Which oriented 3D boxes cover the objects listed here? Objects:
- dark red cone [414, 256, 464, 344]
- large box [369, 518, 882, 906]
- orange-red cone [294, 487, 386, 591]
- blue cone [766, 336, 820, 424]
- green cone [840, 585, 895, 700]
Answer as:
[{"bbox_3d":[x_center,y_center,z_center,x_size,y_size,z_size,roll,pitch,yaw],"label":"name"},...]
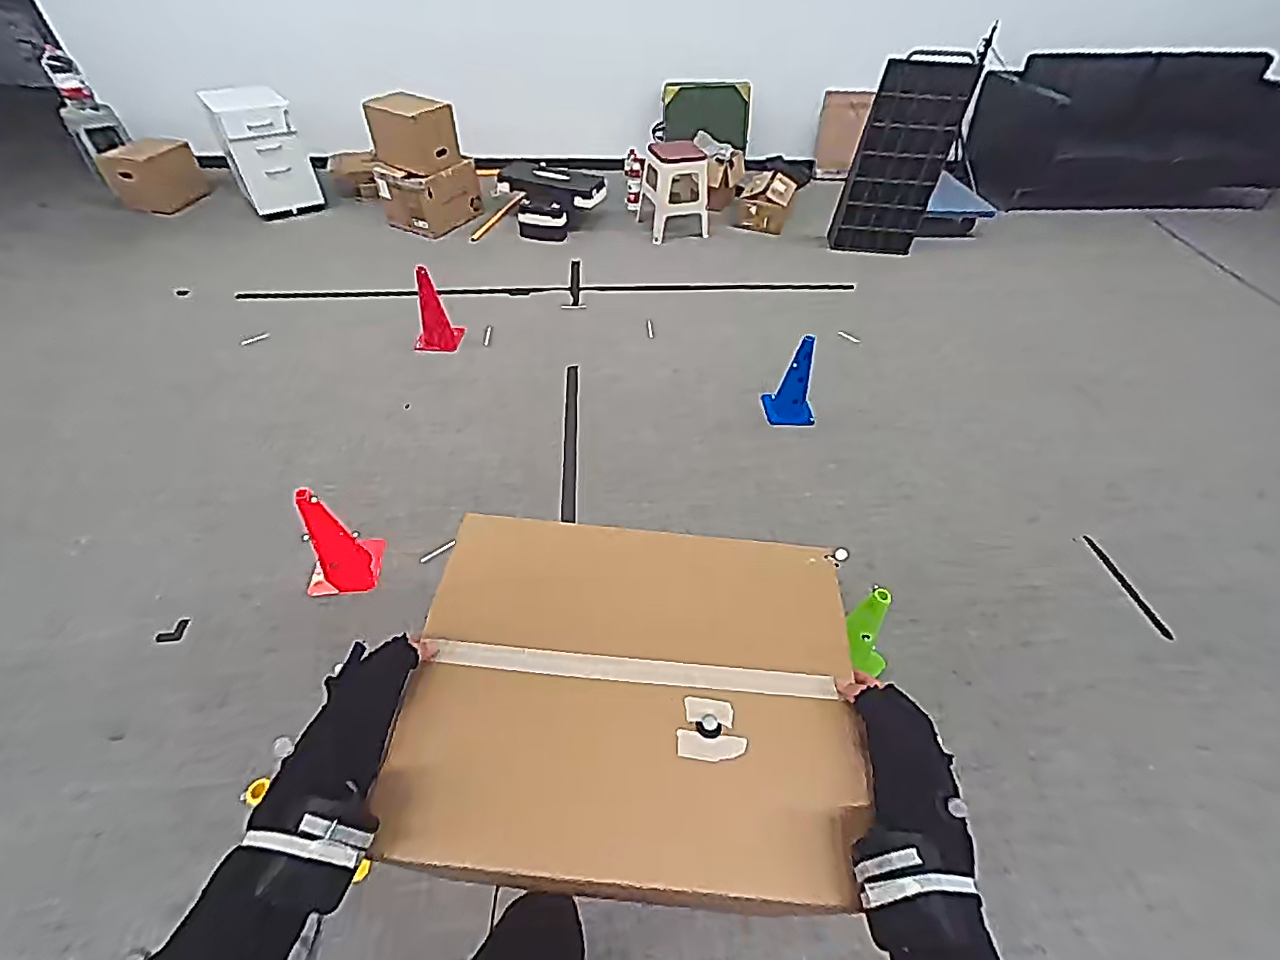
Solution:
[{"bbox_3d":[-0.947,-0.821,2.461,0.201,0.394,0.202,3,47,-1],"label":"dark red cone"},{"bbox_3d":[-0.011,0.271,0.618,0.408,0.320,0.320,6,51,0],"label":"large box"},{"bbox_3d":[-0.921,0.150,1.596,0.198,0.360,0.199,-4,49,-5],"label":"orange-red cone"},{"bbox_3d":[0.656,-0.419,2.220,0.192,0.380,0.193,1,47,-3],"label":"blue cone"},{"bbox_3d":[0.588,0.397,1.439,0.202,0.368,0.200,-31,57,-29],"label":"green cone"}]
